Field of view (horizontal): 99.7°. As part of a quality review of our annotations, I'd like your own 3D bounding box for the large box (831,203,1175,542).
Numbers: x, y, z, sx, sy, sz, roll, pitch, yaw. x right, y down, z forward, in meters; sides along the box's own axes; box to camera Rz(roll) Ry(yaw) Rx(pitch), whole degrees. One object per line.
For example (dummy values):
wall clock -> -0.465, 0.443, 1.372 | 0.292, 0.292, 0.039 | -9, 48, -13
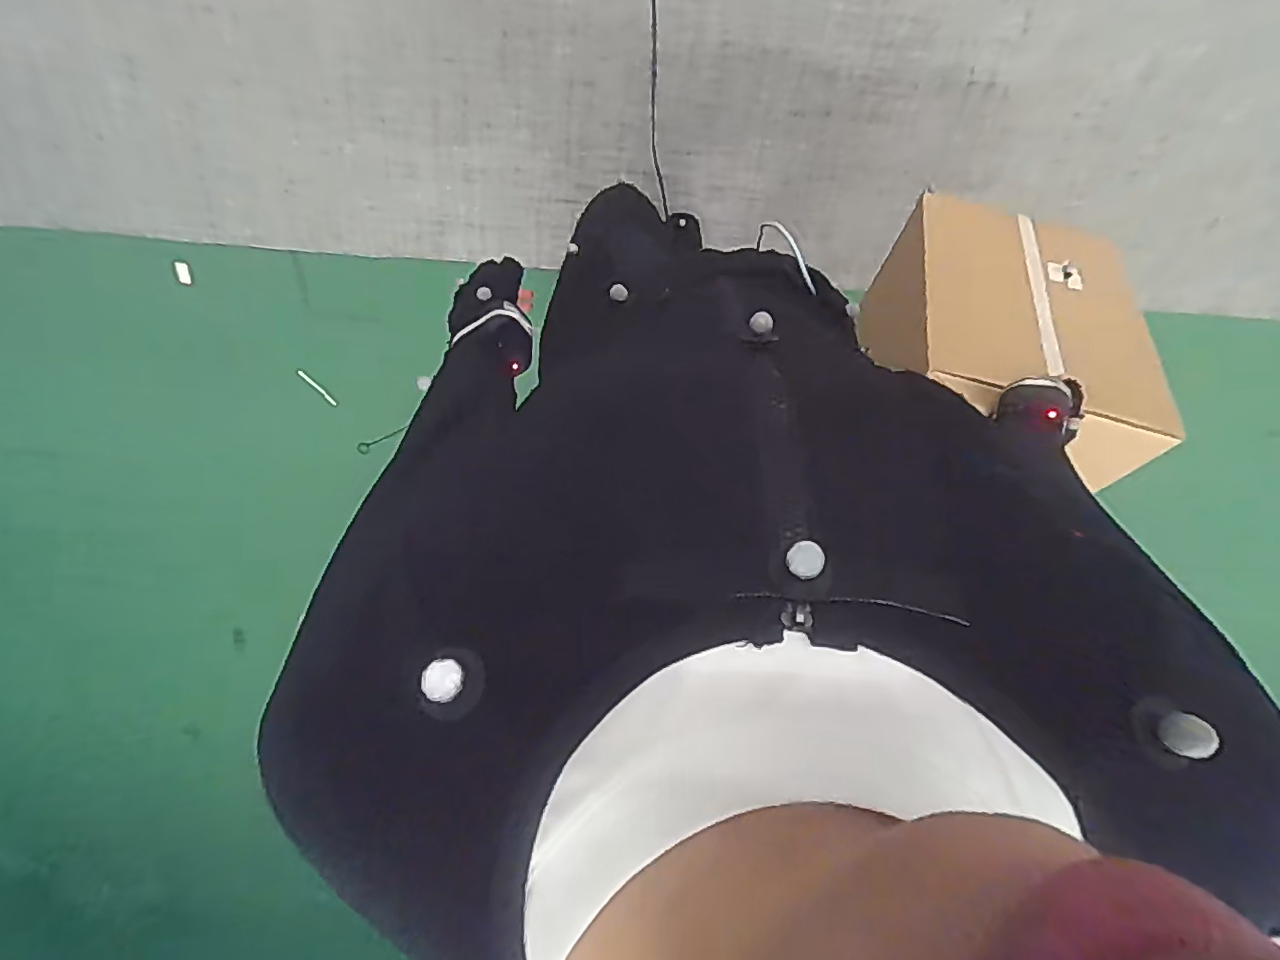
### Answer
large box -> 0.526, -0.167, 0.881 | 0.320, 0.408, 0.320 | 17, 148, 2
